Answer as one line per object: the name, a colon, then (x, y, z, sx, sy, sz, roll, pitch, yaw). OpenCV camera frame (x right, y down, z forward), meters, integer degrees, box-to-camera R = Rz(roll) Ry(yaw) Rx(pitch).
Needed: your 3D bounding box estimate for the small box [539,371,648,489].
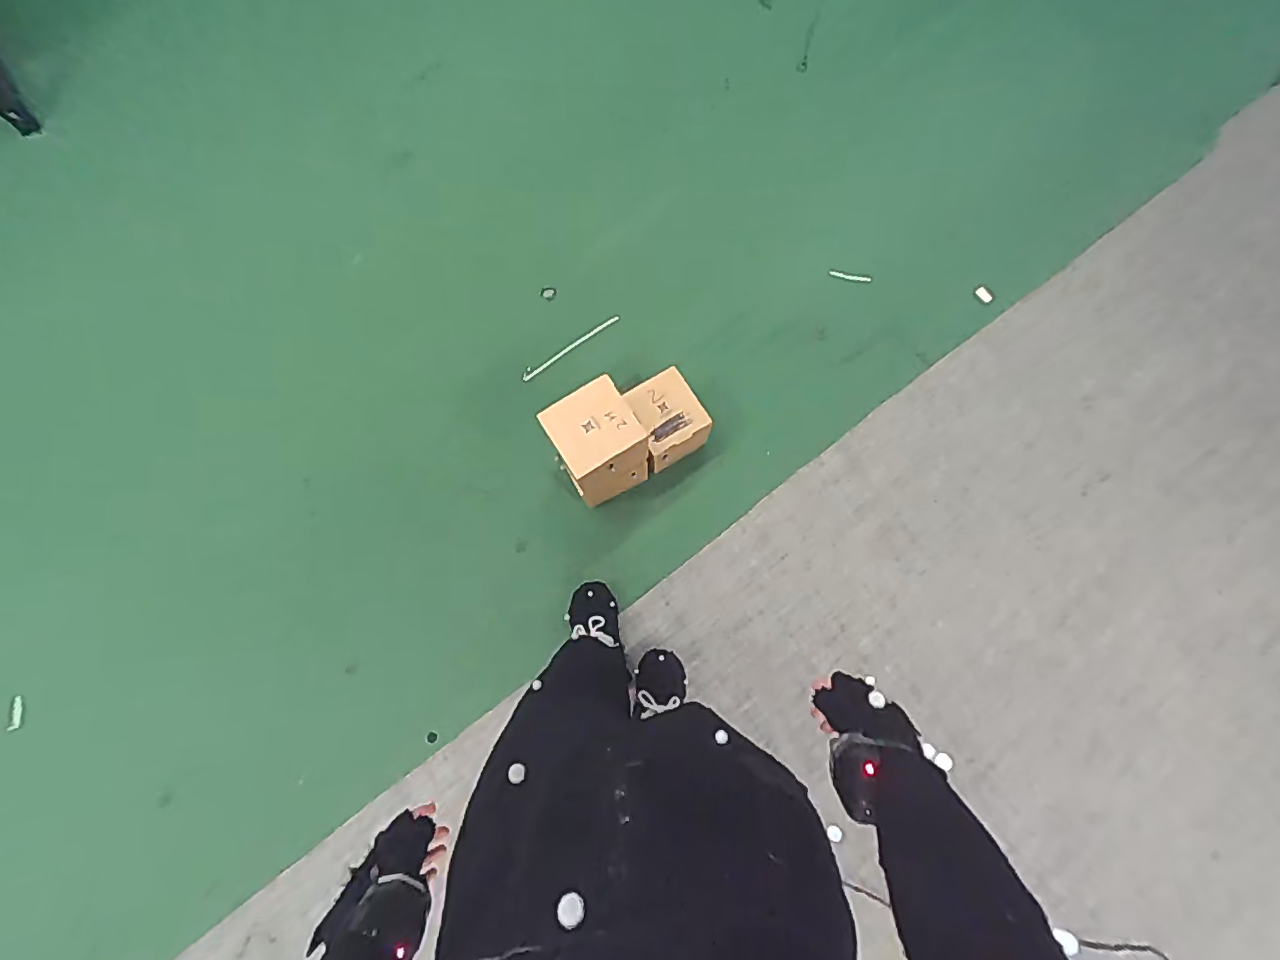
small box: (-0.093, -0.100, 1.184, 0.179, 0.176, 0.168, -32, 79, -7)
